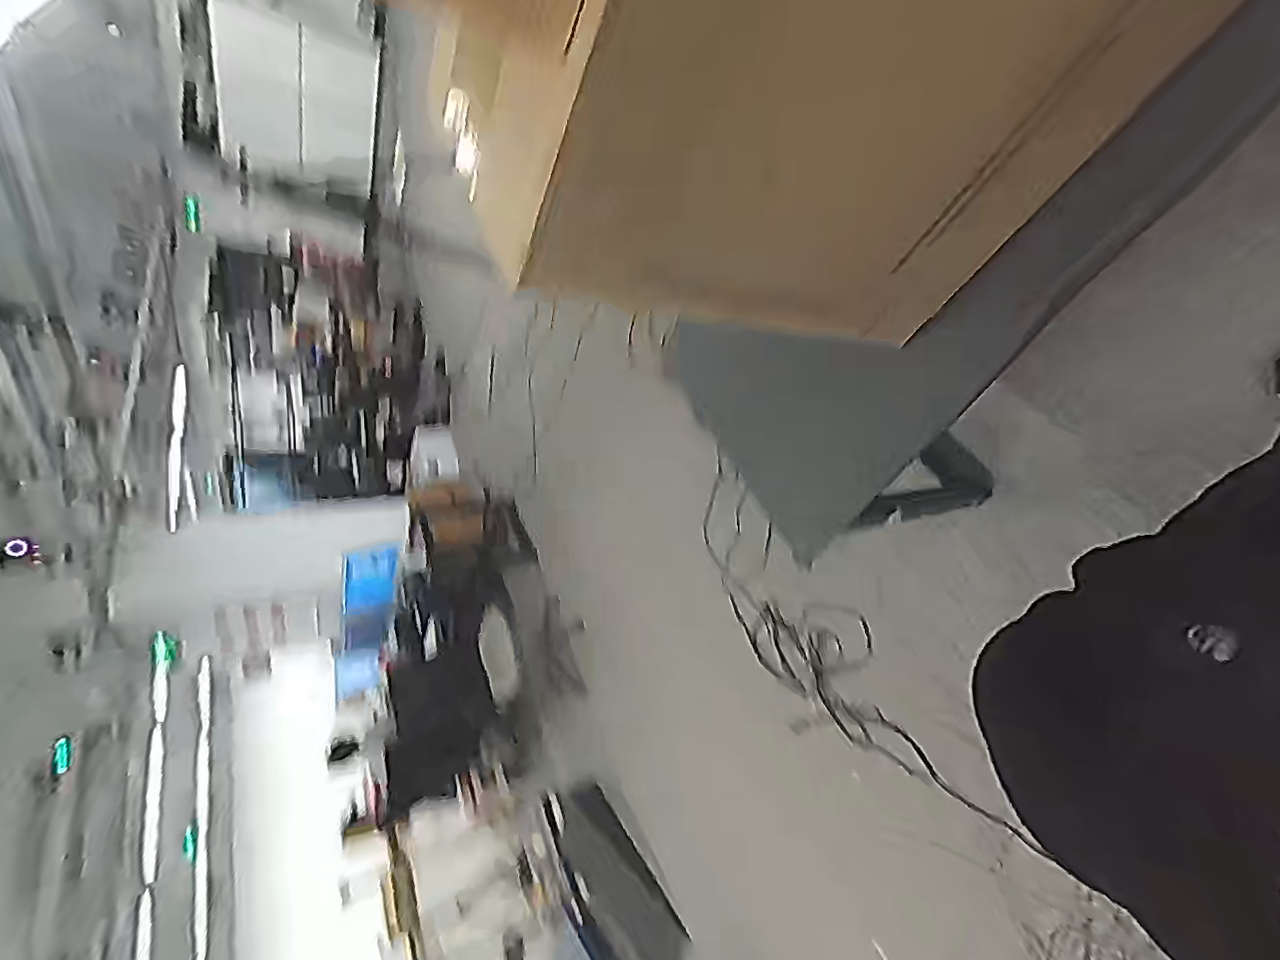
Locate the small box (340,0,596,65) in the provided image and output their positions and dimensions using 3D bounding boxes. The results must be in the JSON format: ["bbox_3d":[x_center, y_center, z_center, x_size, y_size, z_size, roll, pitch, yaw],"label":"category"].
[{"bbox_3d":[-0.108,-0.393,0.324,0.168,0.176,0.179,-53,53,45],"label":"small box"}]
